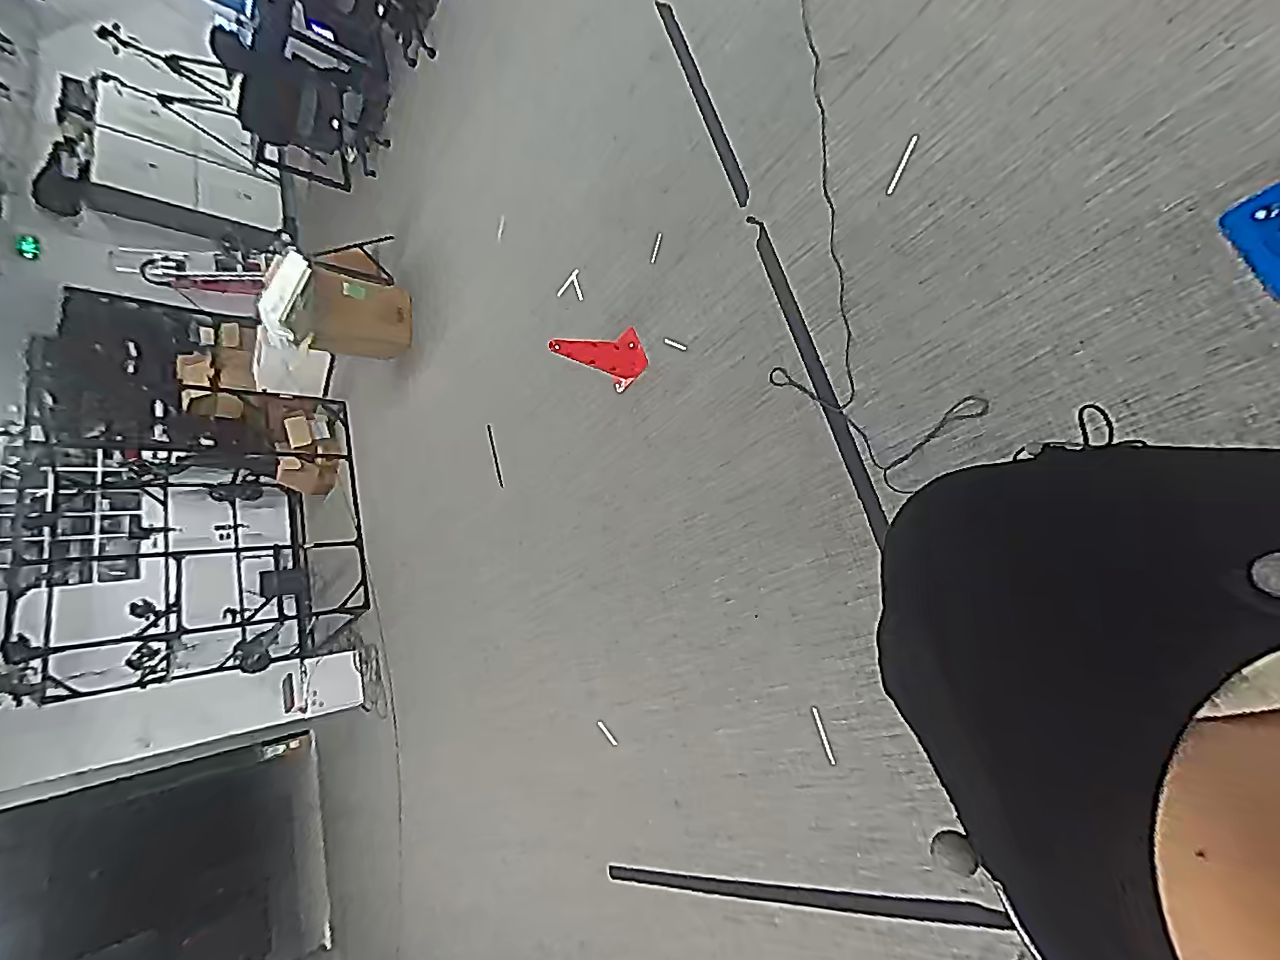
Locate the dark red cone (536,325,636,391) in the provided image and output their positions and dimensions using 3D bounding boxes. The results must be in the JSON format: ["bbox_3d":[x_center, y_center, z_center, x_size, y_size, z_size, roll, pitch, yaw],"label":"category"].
[{"bbox_3d":[-0.213,-0.482,2.026,0.201,0.394,0.202,-41,60,38],"label":"dark red cone"}]

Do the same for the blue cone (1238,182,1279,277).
[{"bbox_3d":[0.995,-0.429,0.746,0.192,0.380,0.193,-32,67,42],"label":"blue cone"}]
